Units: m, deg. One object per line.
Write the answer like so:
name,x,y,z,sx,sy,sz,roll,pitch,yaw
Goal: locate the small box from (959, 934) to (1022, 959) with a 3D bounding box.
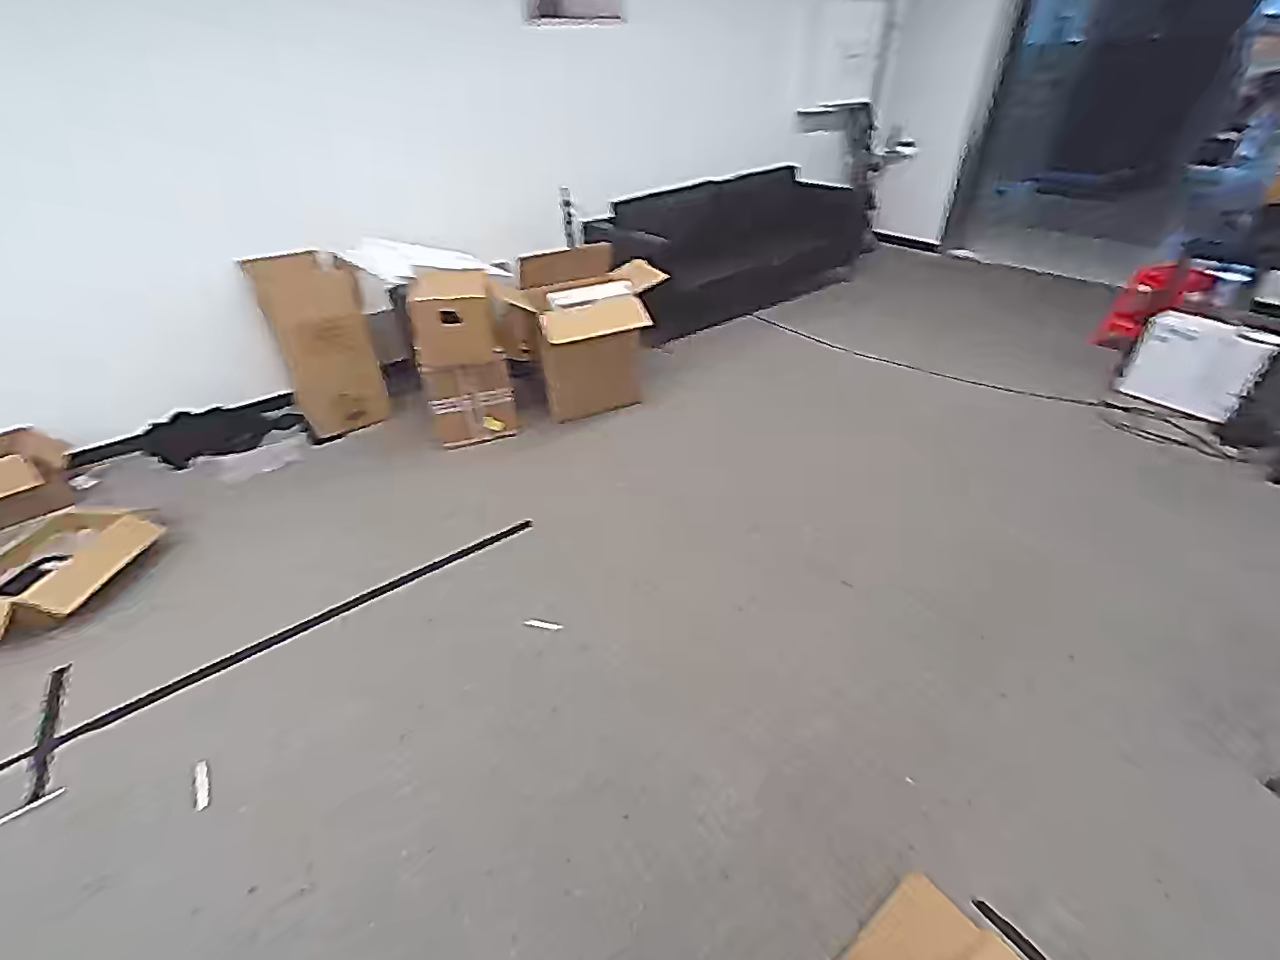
small box,0.492,0.787,0.740,0.179,0.176,0.168,-25,43,-26
